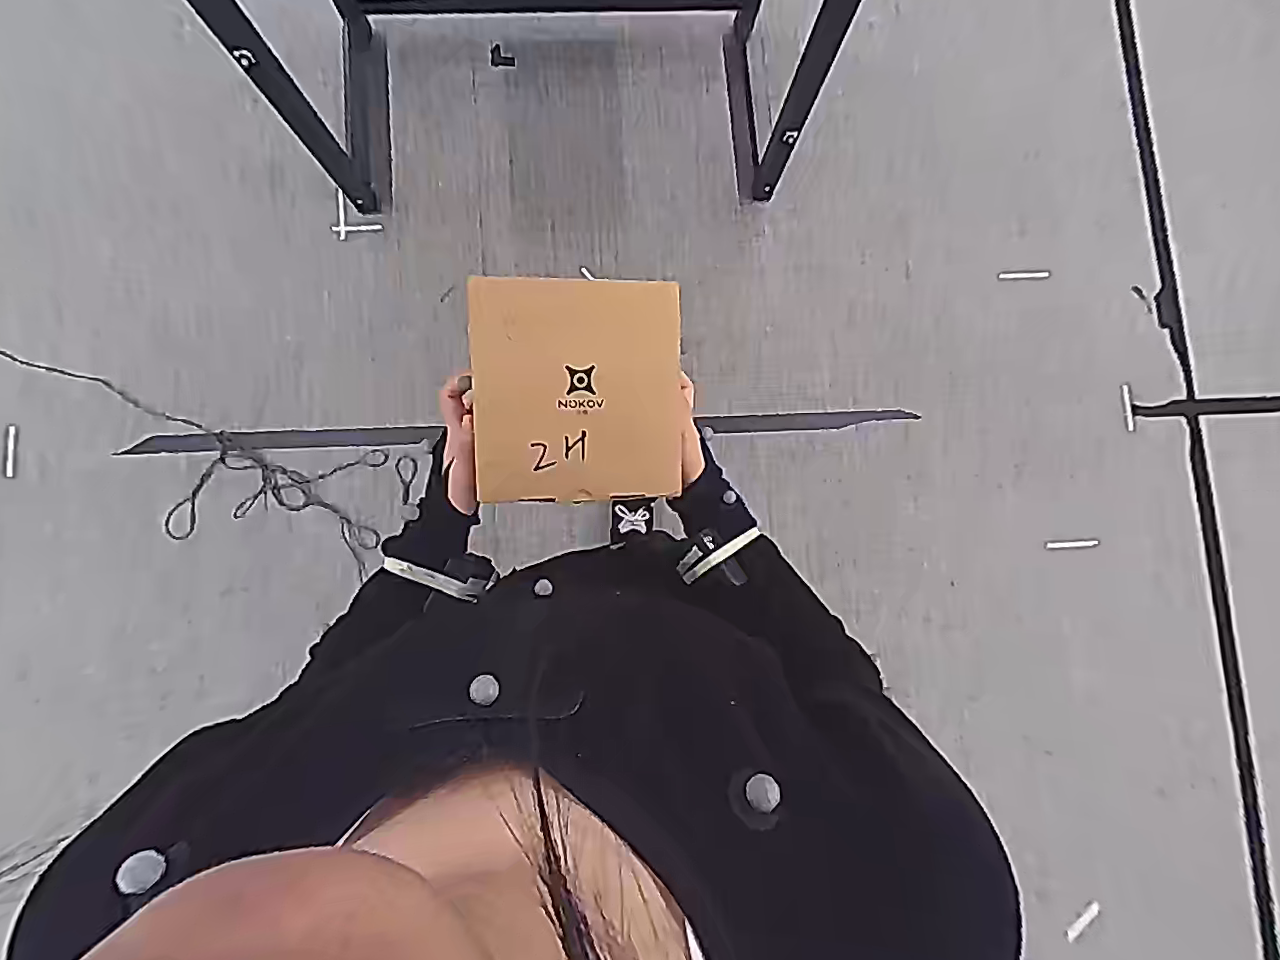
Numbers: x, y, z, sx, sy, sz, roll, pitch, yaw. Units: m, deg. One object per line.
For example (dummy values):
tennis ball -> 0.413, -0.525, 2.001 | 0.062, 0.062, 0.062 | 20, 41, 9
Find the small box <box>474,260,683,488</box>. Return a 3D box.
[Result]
small box -> -0.059, -0.085, 0.502 | 0.168, 0.176, 0.179 | -1, 94, -9
